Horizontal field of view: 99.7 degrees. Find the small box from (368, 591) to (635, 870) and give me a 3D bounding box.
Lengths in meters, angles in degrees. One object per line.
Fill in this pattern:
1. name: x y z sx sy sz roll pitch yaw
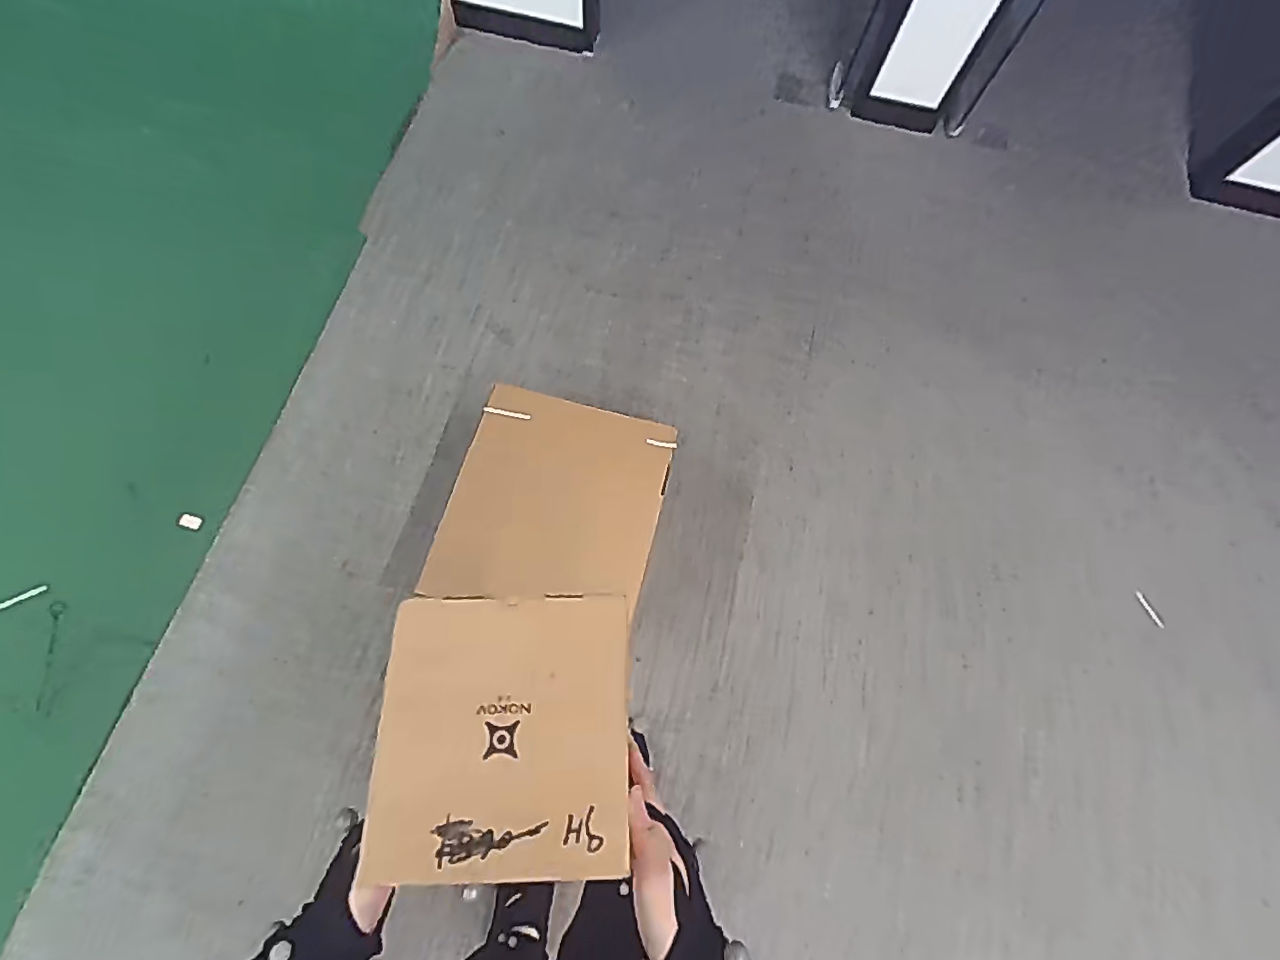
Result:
1. small box: -0.090 0.199 0.442 0.168 0.176 0.179 1 64 -2
